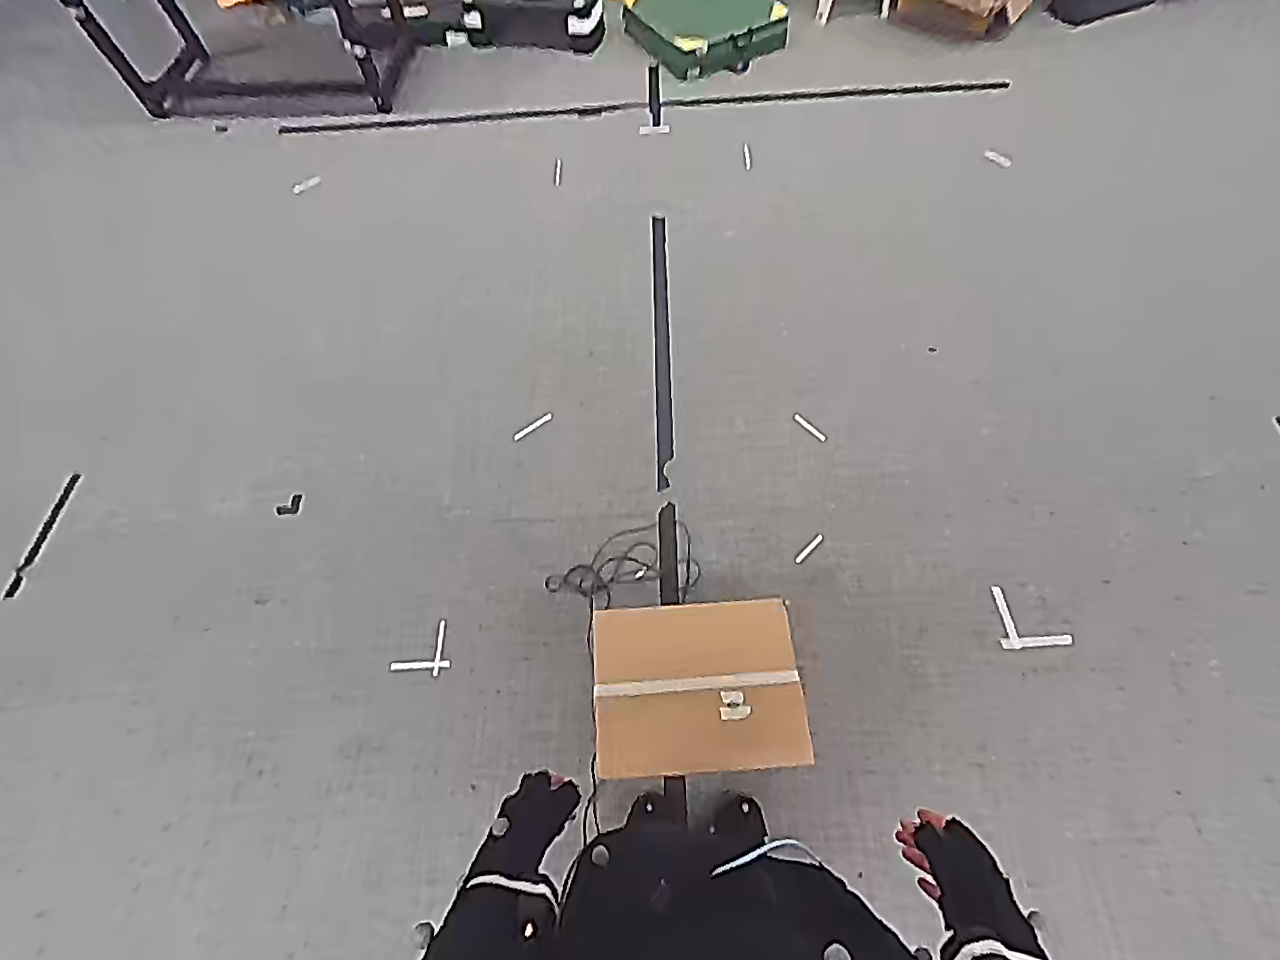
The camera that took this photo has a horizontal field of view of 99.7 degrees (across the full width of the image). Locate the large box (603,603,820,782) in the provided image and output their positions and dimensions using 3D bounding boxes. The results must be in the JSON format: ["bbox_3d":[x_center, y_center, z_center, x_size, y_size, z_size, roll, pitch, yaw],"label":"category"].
[{"bbox_3d":[0.132,0.479,1.201,0.408,0.320,0.320,-3,63,0],"label":"large box"}]
